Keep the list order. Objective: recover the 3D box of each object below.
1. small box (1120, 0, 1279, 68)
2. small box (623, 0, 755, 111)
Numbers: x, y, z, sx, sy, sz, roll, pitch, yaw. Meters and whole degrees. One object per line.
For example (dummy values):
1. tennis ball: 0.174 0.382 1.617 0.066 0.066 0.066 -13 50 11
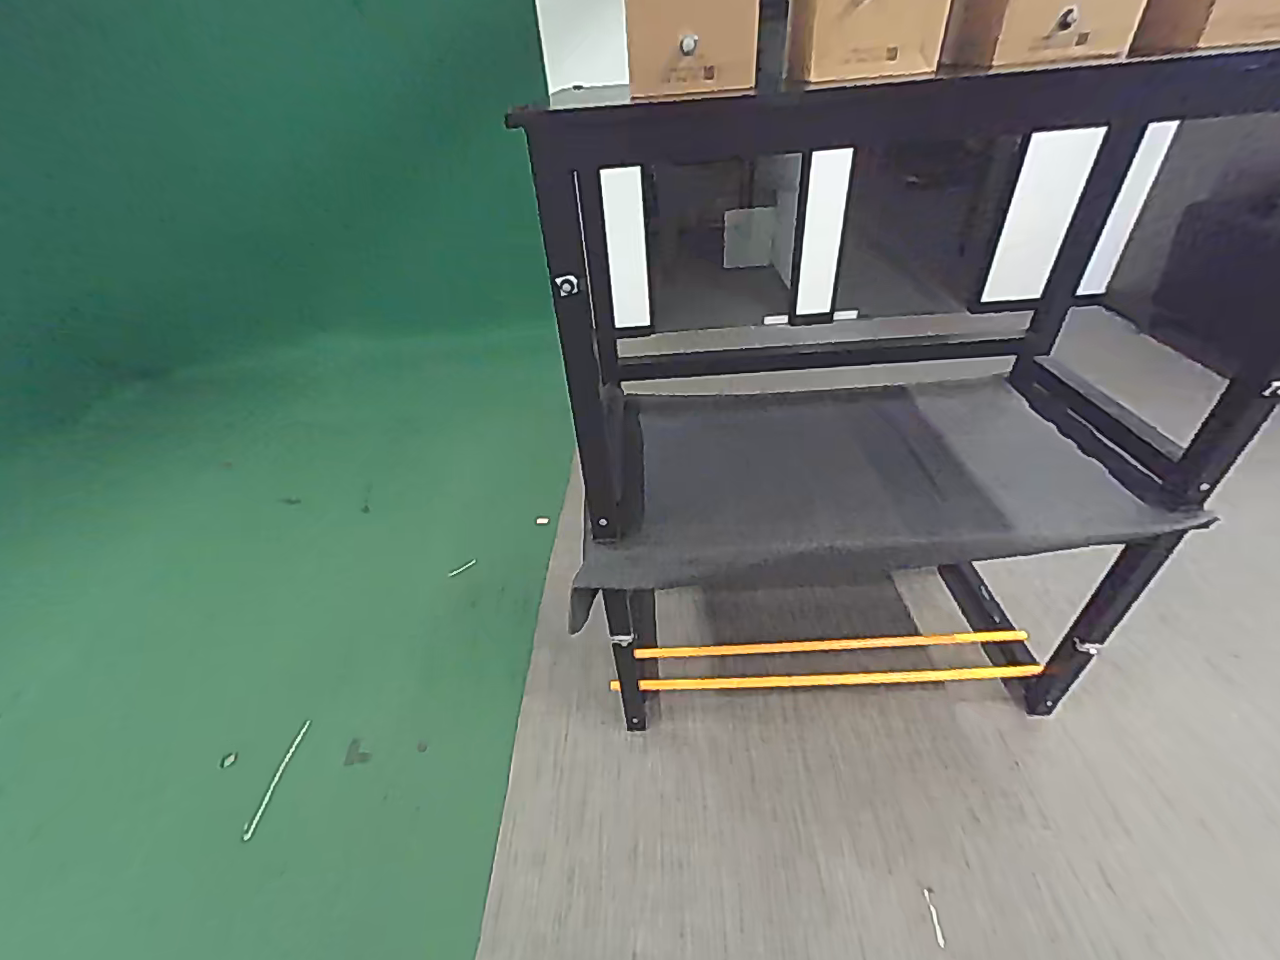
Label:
1. small box: 0.781 -0.644 0.695 0.168 0.176 0.179 4 38 11
2. small box: 0.061 -0.618 0.747 0.168 0.176 0.179 -4 38 1
